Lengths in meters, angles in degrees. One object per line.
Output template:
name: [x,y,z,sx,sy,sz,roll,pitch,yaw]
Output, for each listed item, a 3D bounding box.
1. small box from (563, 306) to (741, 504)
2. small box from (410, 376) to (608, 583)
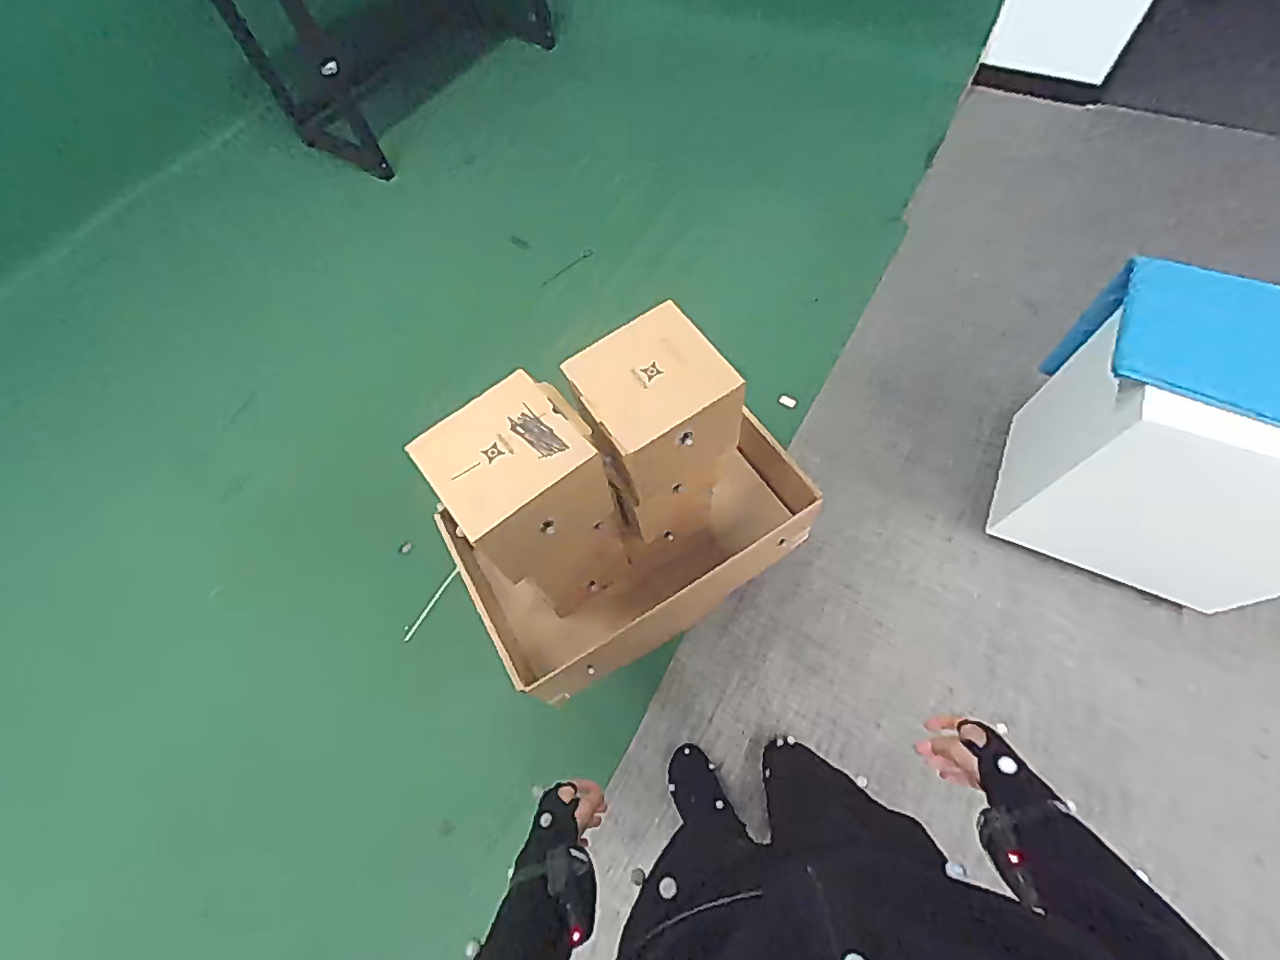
small box: [0.023,-0.094,0.748,0.179,0.176,0.168,-32,65,-7]
small box: [-0.156,0.005,0.711,0.179,0.176,0.168,-37,65,-12]
